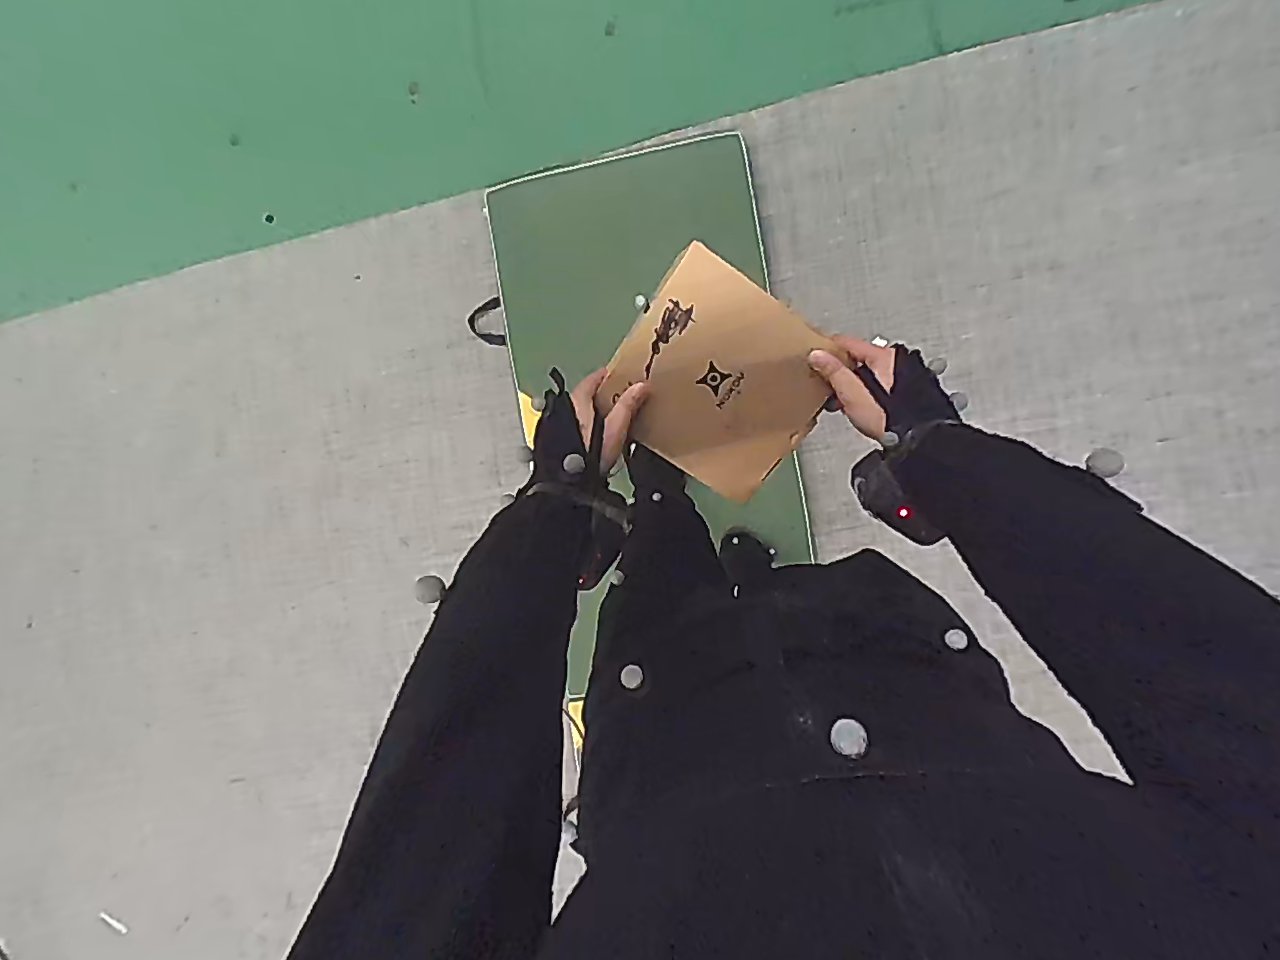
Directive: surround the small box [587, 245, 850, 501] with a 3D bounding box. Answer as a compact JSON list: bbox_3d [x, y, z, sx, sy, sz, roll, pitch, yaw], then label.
[{"bbox_3d":[0.069,-0.114,0.548,0.179,0.176,0.168,33,108,-11],"label":"small box"}]
